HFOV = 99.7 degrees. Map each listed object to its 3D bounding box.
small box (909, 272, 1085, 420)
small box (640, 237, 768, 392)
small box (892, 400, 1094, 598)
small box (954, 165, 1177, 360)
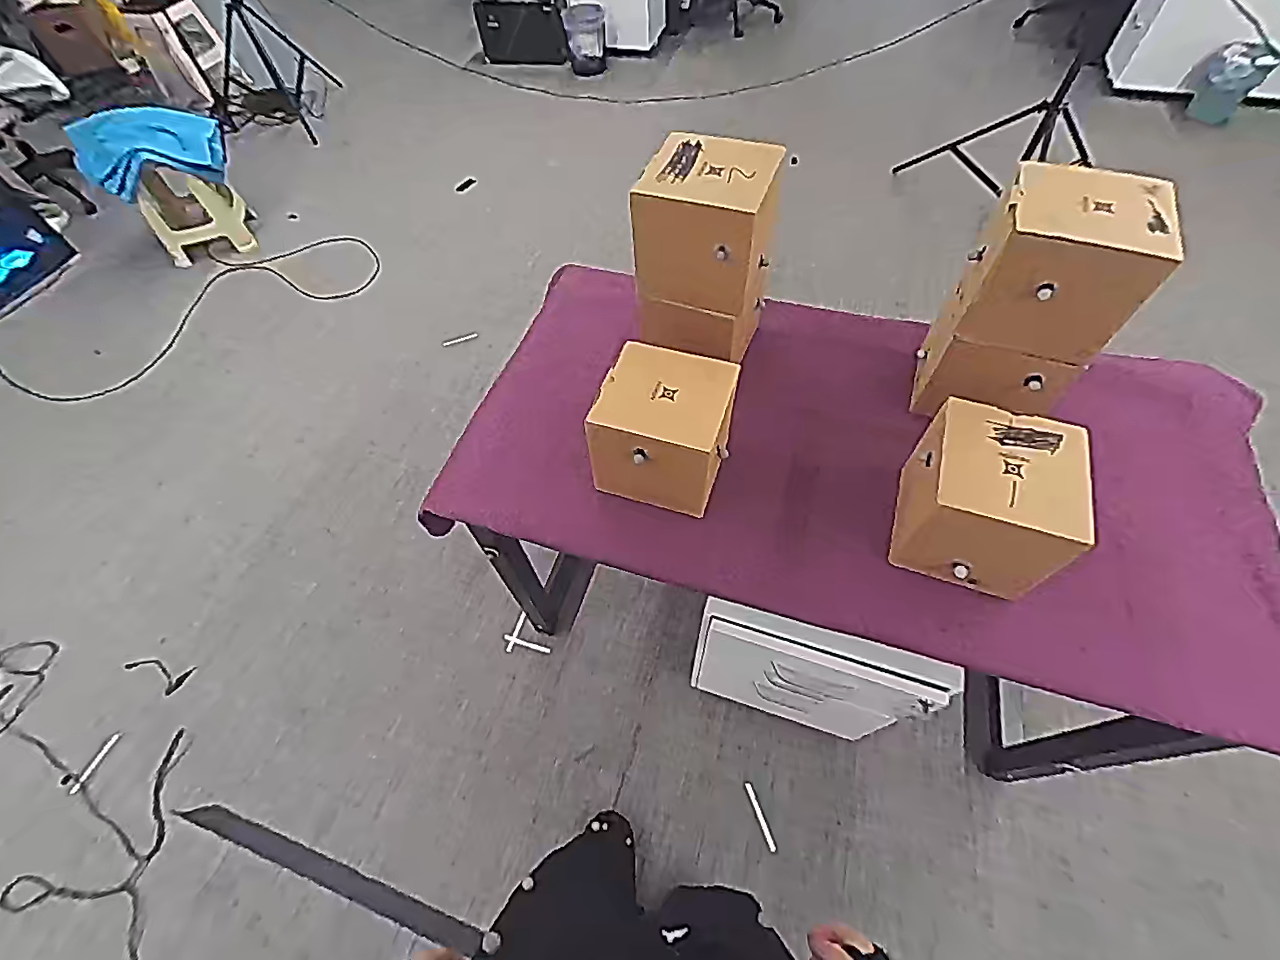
[{"bbox_3d":[0.558,-0.195,0.859,0.179,0.176,0.168,17,60,14],"label":"small box"},{"bbox_3d":[0.110,-0.287,0.946,0.168,0.176,0.179,18,62,16],"label":"small box"},{"bbox_3d":[0.453,0.028,0.718,0.168,0.176,0.179,16,58,14],"label":"small box"},{"bbox_3d":[0.549,-0.285,0.722,0.179,0.176,0.168,18,61,15],"label":"small box"}]
